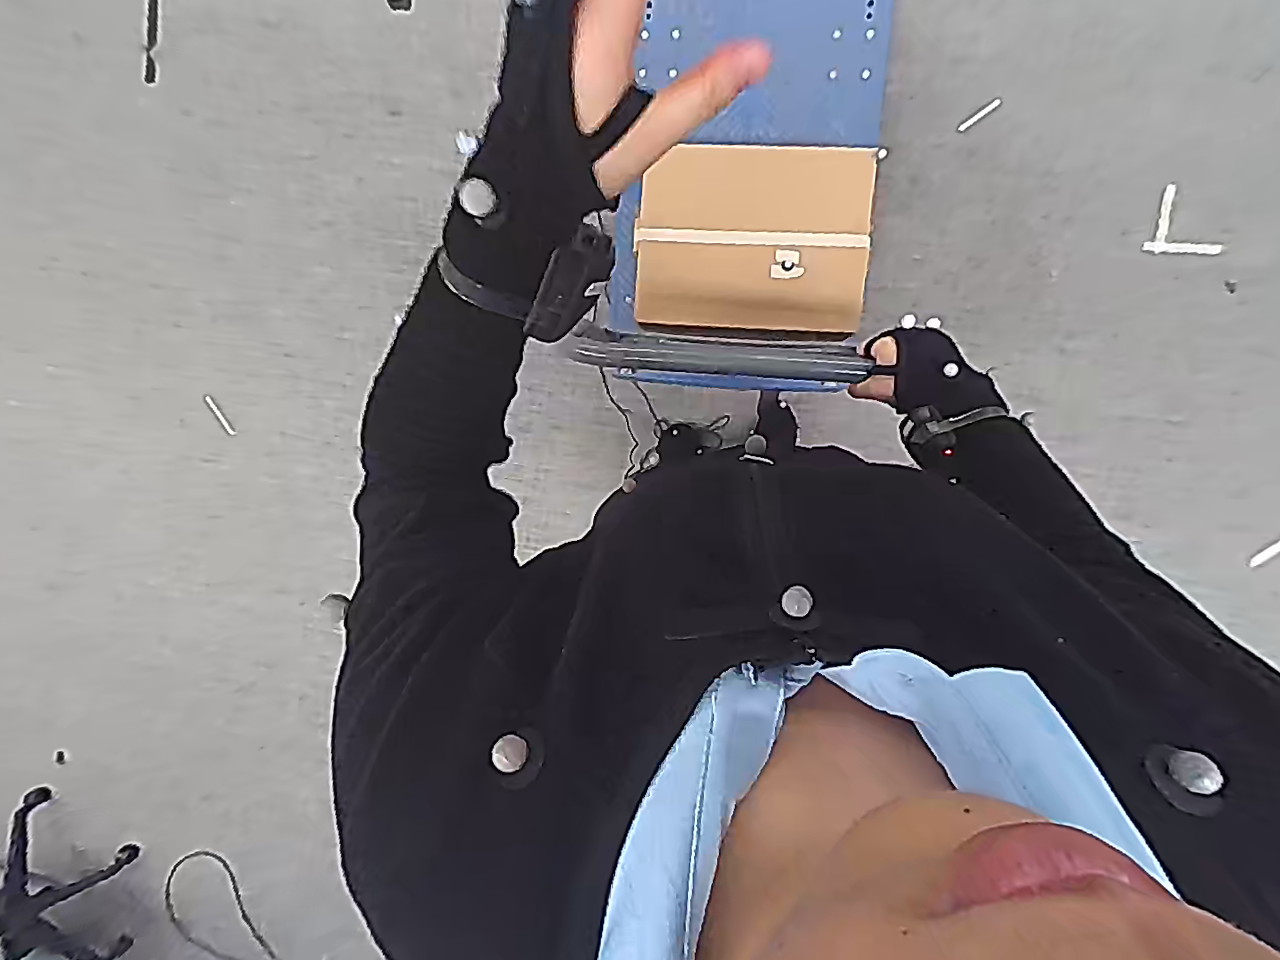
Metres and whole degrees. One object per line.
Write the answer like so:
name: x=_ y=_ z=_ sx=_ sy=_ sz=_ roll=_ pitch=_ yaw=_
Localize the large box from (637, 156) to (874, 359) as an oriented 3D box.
large box: x=0.210 y=-0.427 z=1.107 sx=0.408 sy=0.320 sz=0.320 roll=4 pitch=97 yaw=5
